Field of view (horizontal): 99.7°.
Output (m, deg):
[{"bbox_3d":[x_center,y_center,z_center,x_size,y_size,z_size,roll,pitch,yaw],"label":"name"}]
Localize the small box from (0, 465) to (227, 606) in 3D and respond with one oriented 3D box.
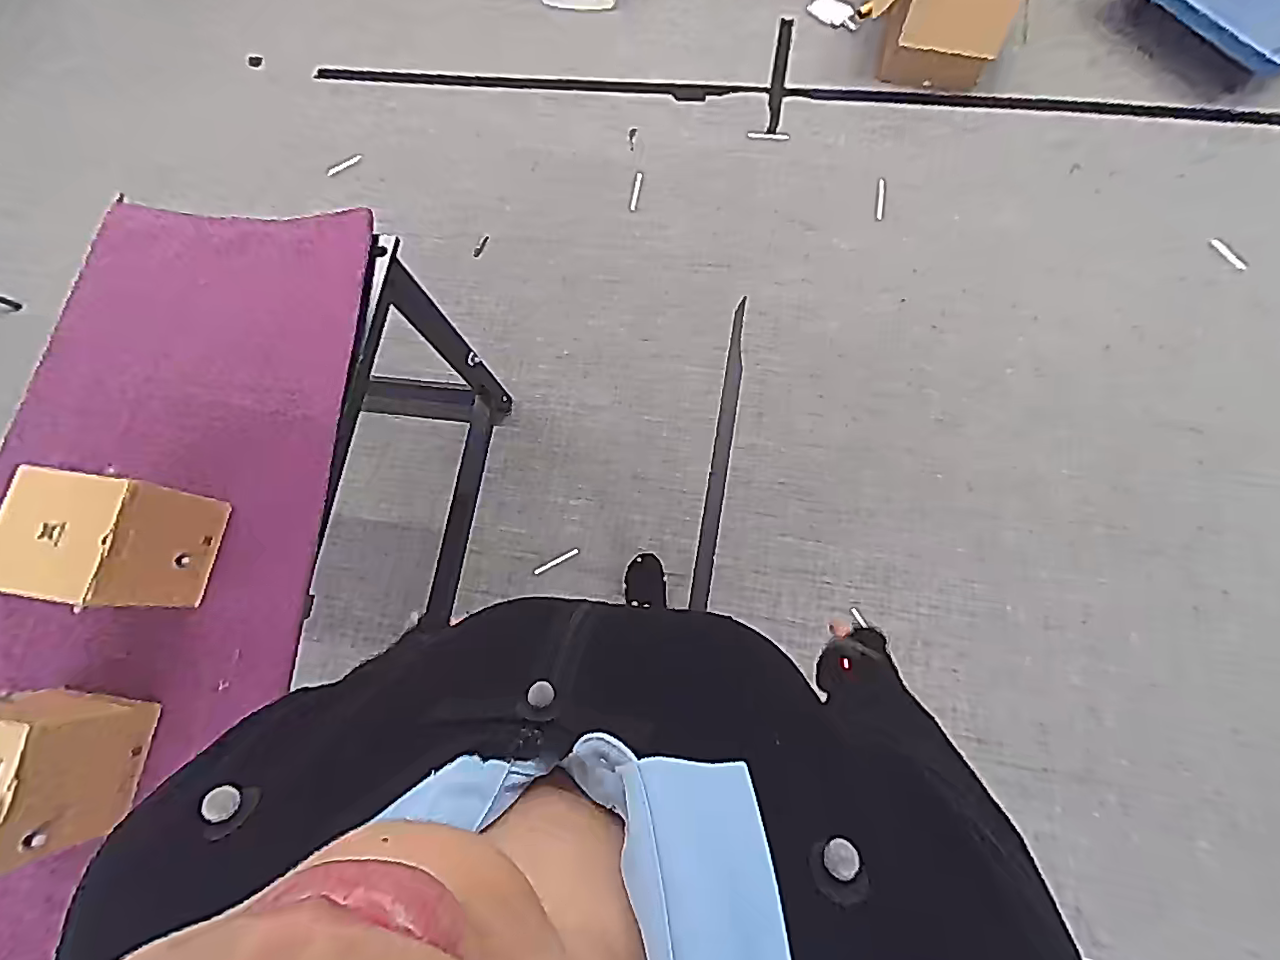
[{"bbox_3d":[-0.762,0.087,0.781,0.179,0.176,0.168,7,76,6],"label":"small box"}]
